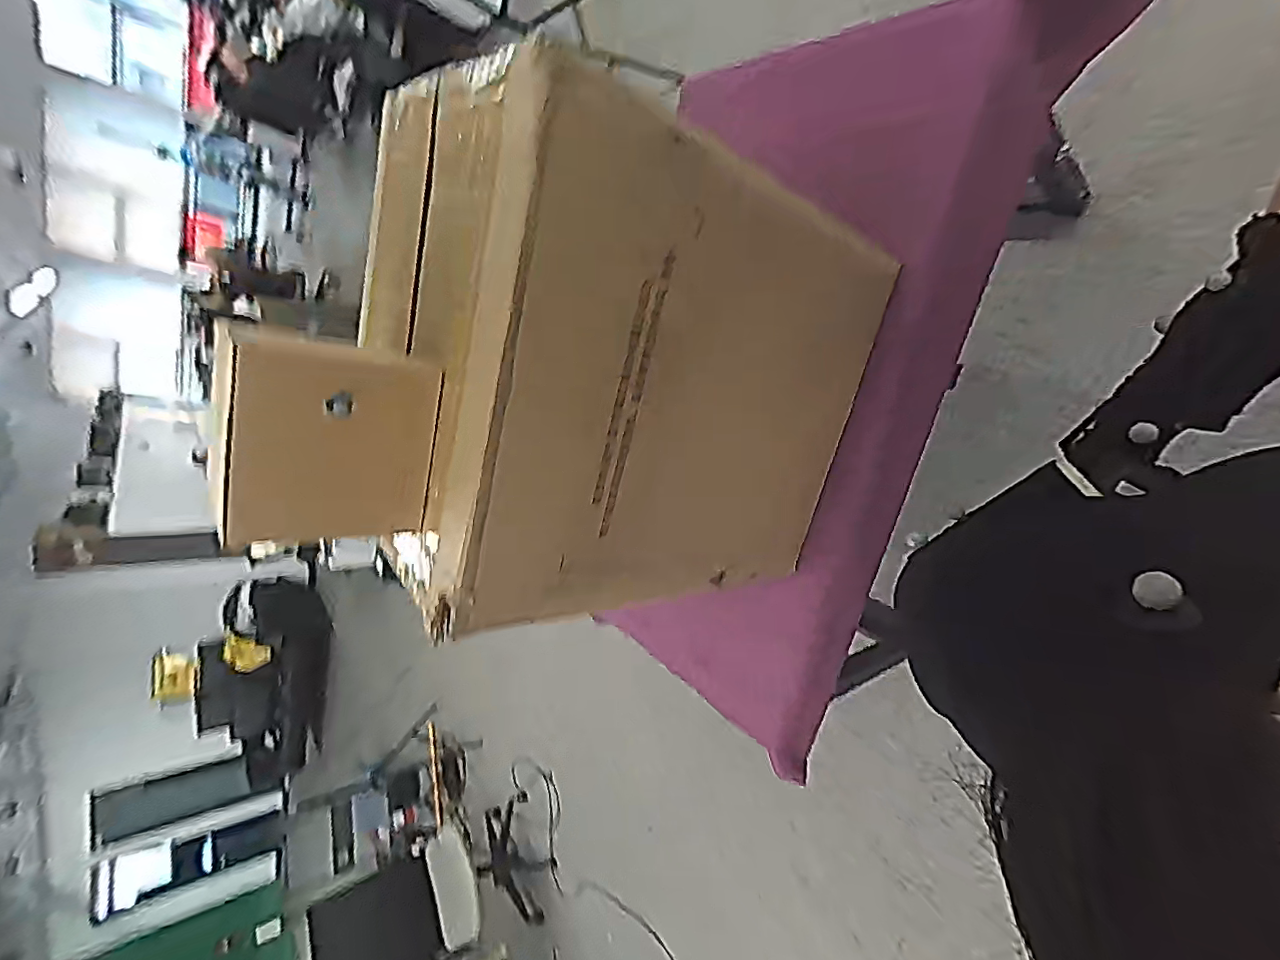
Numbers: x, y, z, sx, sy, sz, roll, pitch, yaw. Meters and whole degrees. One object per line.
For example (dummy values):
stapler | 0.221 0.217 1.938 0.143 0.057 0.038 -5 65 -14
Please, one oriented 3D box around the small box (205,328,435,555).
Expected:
small box | -0.320 -0.042 0.543 0.168 0.176 0.179 24 108 46
